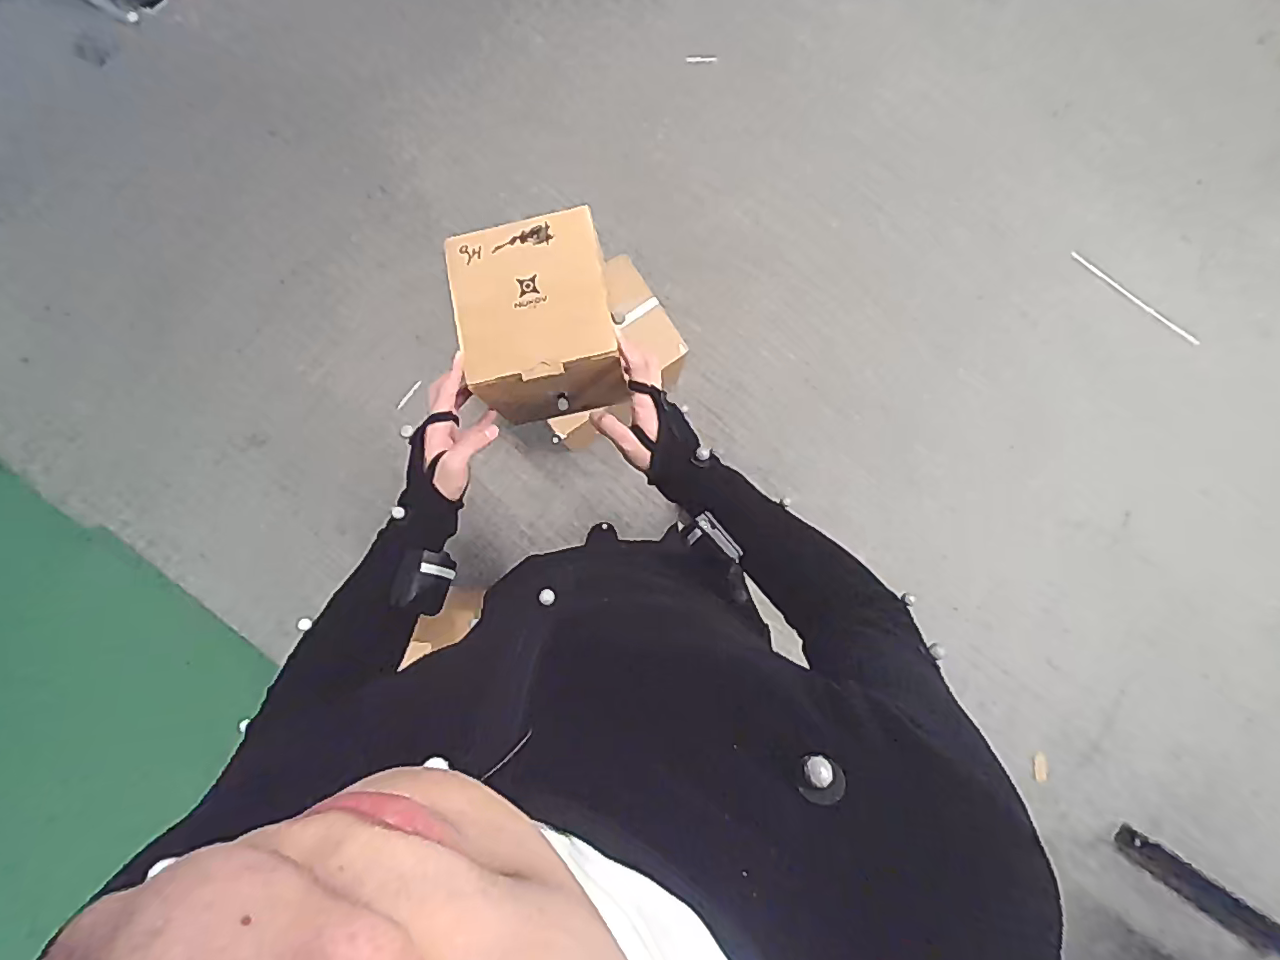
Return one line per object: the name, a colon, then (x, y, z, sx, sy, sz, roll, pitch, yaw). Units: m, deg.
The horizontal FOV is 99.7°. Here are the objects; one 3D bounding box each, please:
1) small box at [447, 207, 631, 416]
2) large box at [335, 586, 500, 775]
small box: (-0.109, -0.184, 0.649, 0.168, 0.176, 0.179, -11, 81, 2)
large box: (-0.576, 0.513, 1.463, 0.320, 0.320, 0.408, 4, 88, 1)
